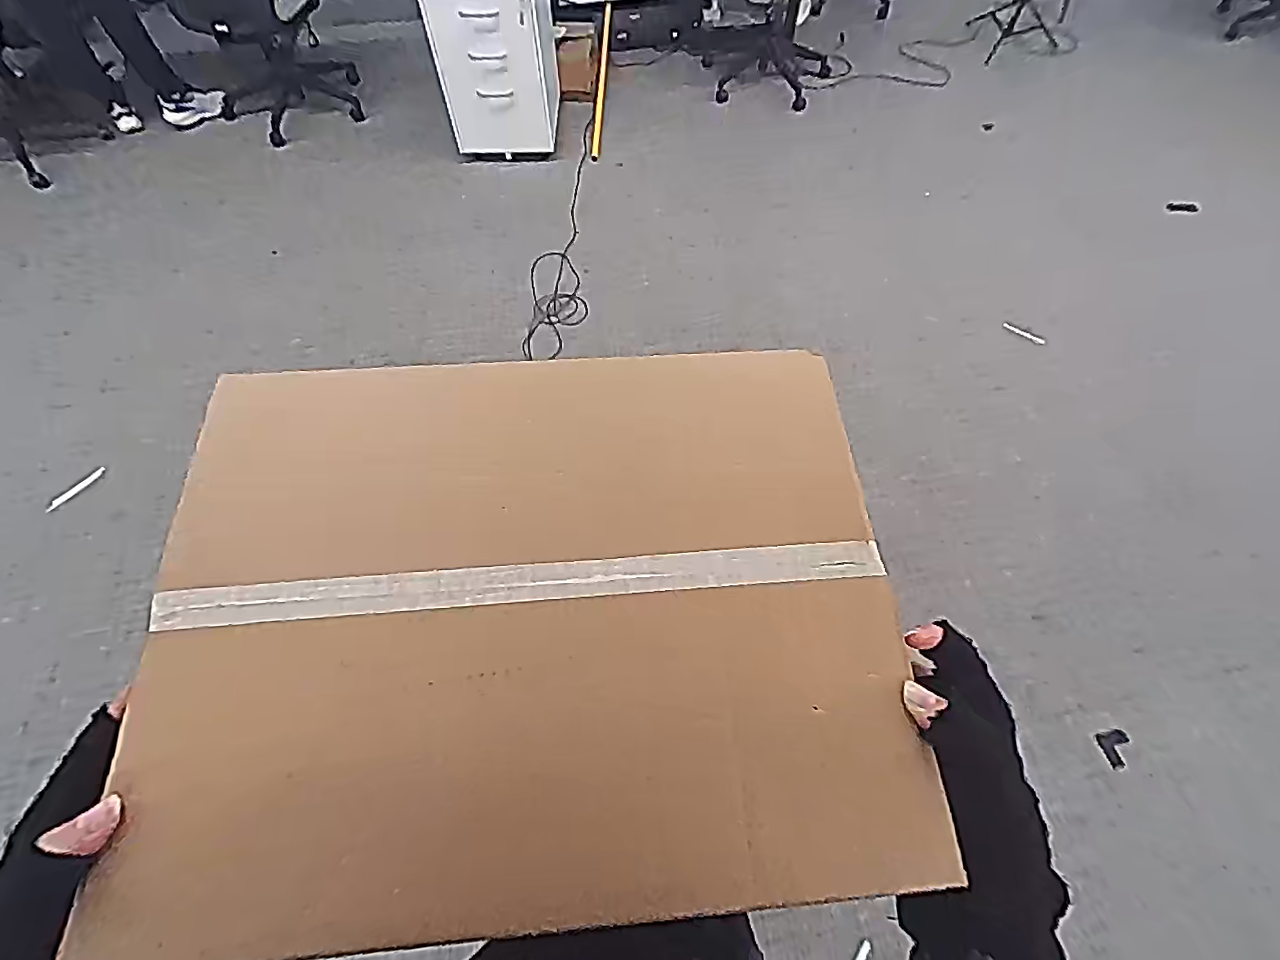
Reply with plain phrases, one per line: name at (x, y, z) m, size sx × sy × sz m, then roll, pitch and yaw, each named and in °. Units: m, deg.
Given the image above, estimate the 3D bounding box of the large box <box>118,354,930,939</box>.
large box at (-0.066, 0.121, 0.459) m, size 0.408 × 0.320 × 0.320 m, roll -3°, pitch 66°, yaw -4°
